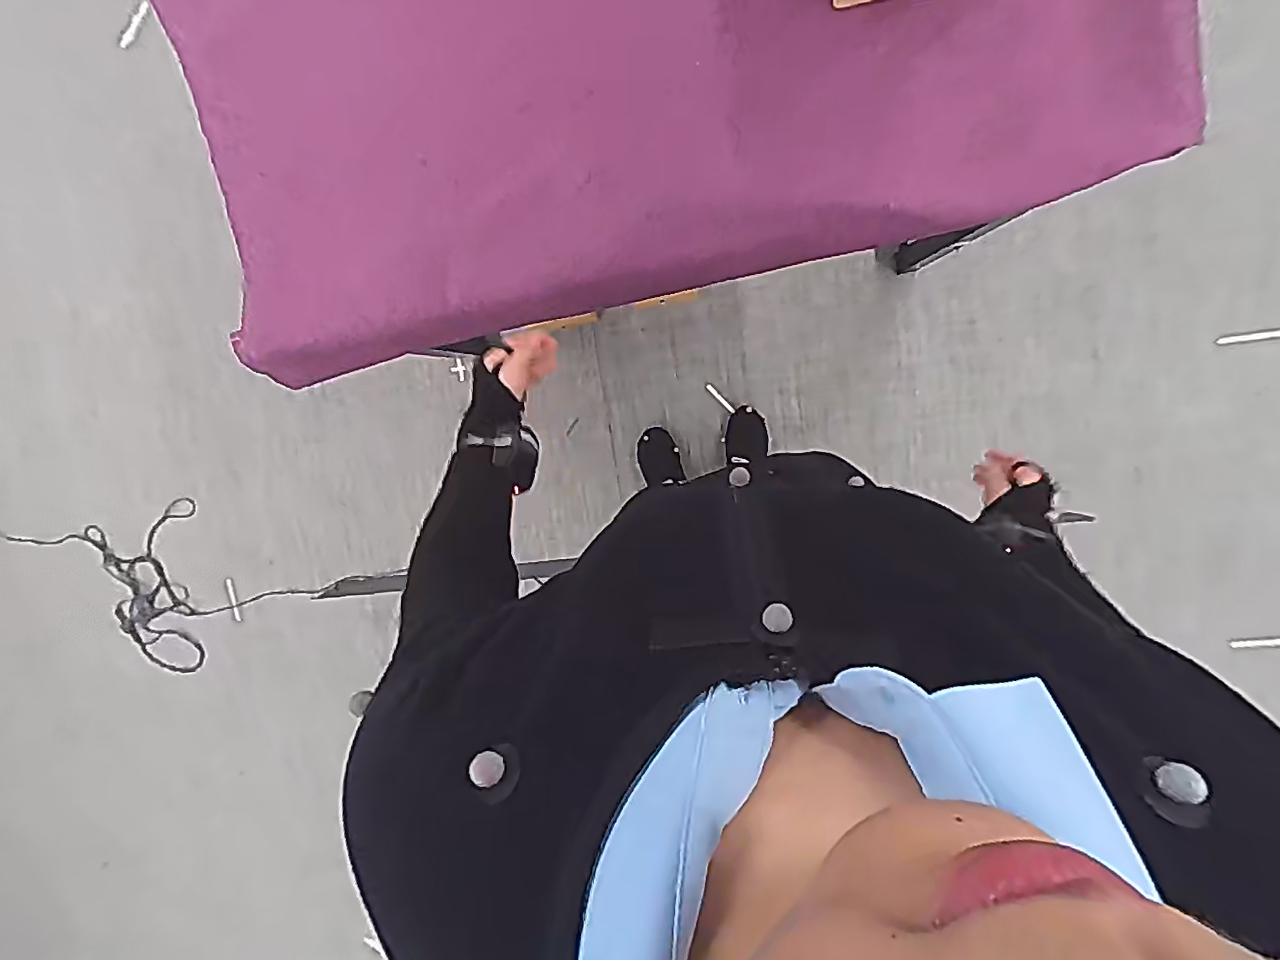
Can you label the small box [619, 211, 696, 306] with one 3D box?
[{"bbox_3d":[0.049,-0.535,1.334,0.168,0.176,0.179,-7,98,6],"label":"small box"}]
